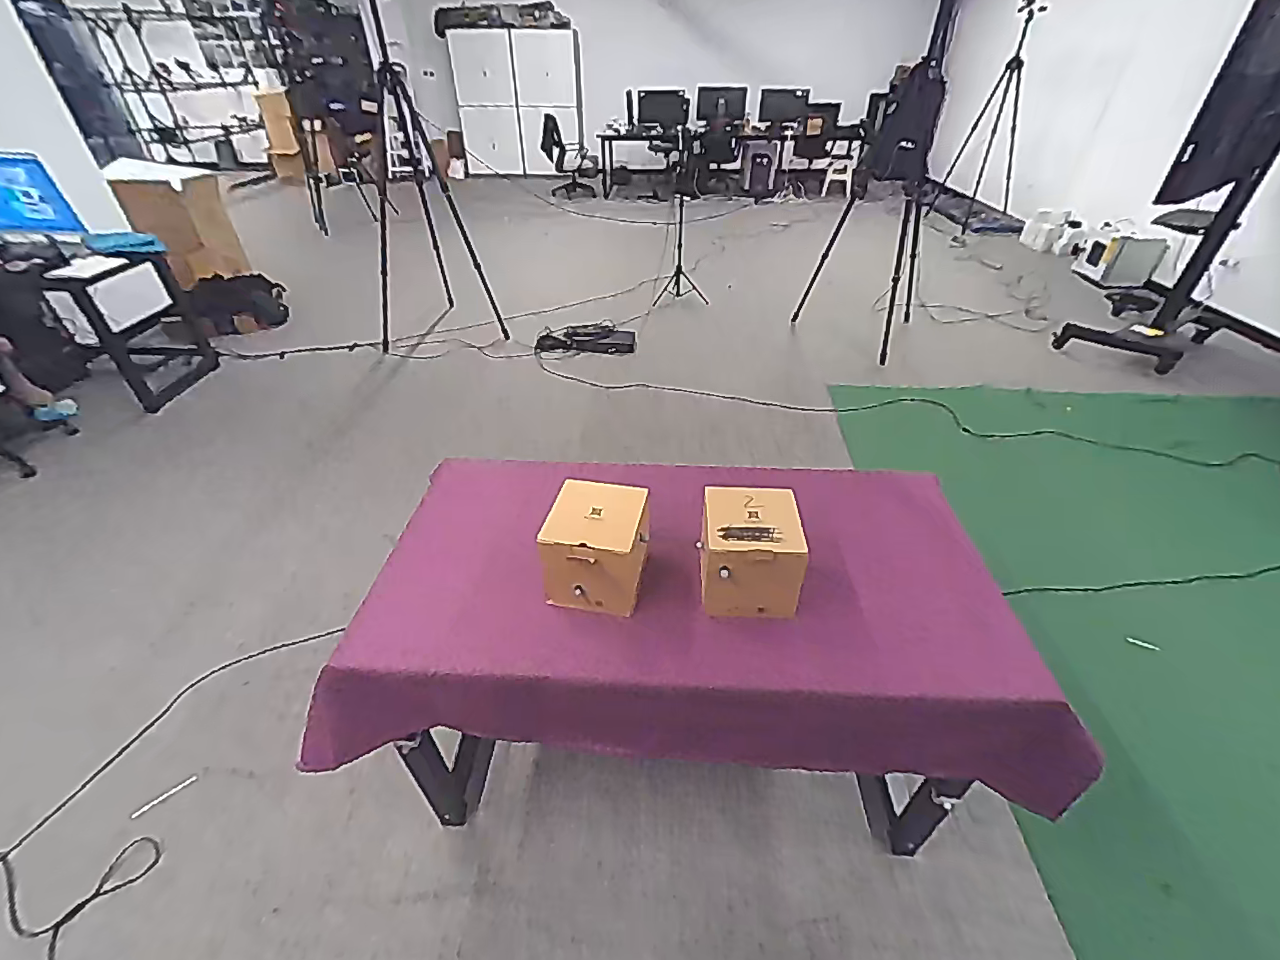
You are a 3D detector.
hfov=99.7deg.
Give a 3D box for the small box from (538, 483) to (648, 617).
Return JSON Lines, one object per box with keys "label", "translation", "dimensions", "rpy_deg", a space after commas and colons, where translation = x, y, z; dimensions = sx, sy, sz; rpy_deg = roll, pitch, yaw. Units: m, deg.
{"label": "small box", "translation": [-0.082, 0.132, 1.035], "dimensions": [0.168, 0.176, 0.179], "rpy_deg": [7, 39, 9]}
